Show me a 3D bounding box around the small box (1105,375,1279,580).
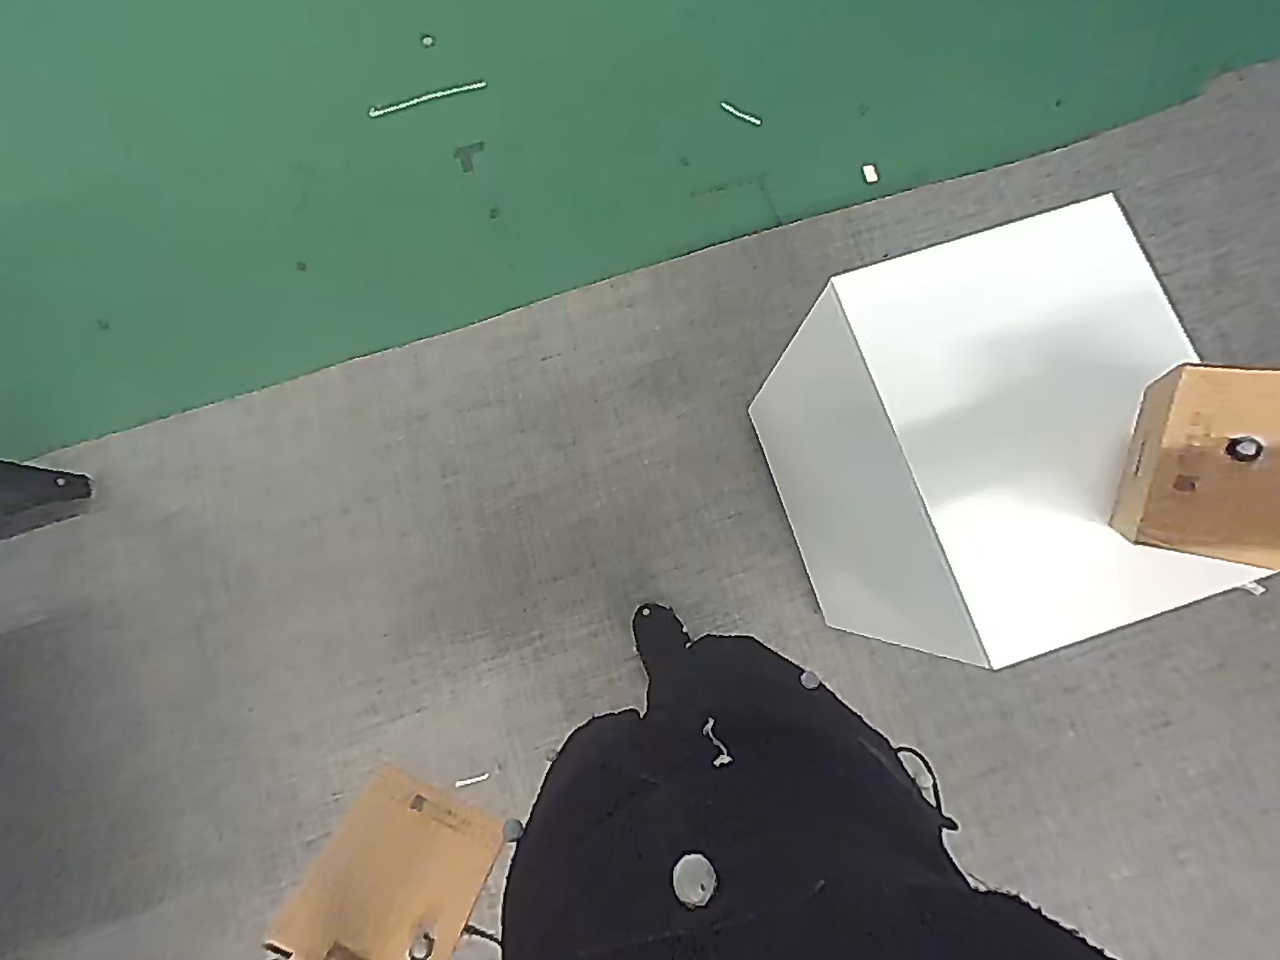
[{"bbox_3d":[0.571,-0.003,0.513,0.176,0.179,0.168,13,99,35],"label":"small box"}]
